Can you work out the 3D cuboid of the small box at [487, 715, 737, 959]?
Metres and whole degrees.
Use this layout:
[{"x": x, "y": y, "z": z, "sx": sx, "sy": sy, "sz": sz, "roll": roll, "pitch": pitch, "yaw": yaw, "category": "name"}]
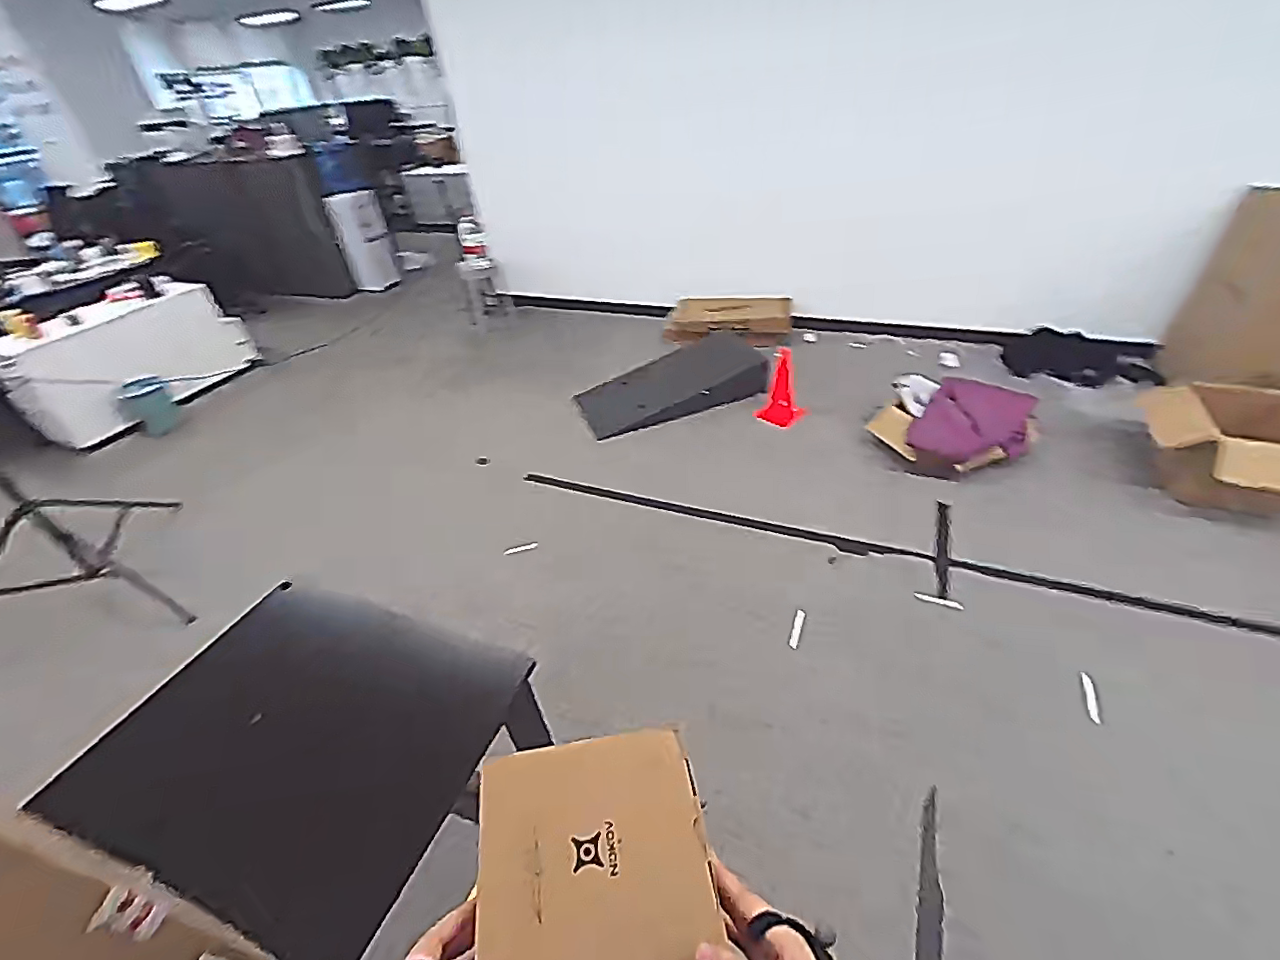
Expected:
[{"x": -0.026, "y": 0.335, "z": 0.477, "sx": 0.179, "sy": 0.176, "sz": 0.168, "roll": -10, "pitch": 44, "yaw": -4, "category": "small box"}]
